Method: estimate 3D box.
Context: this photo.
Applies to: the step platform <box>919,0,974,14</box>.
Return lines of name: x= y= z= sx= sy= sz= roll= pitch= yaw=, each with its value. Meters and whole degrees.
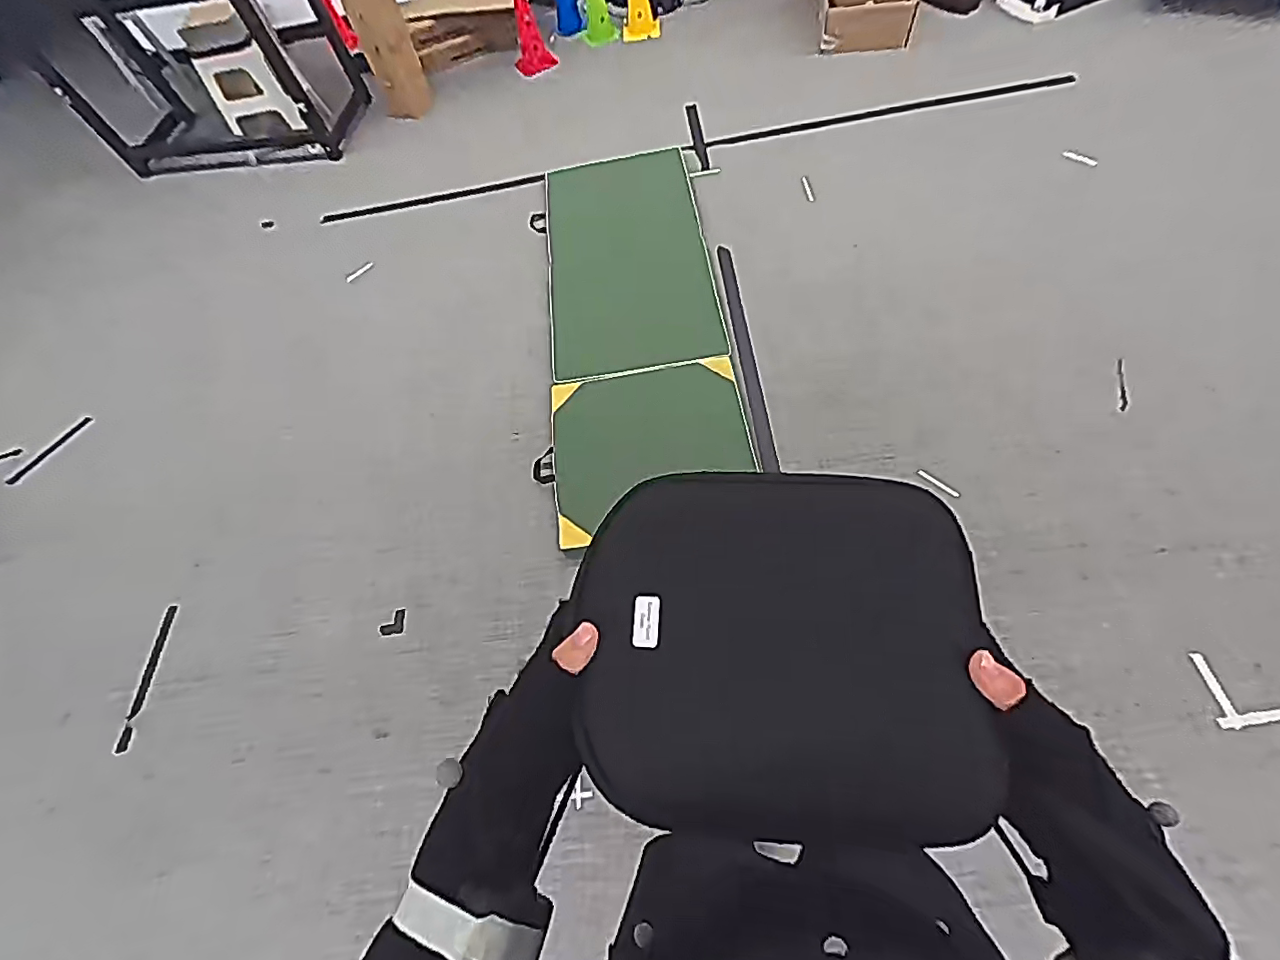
step platform: x=1.724 y=-2.562 z=2.647 sx=0.684 sy=0.204 sz=0.286 roll=-34 pitch=63 yaw=-10
